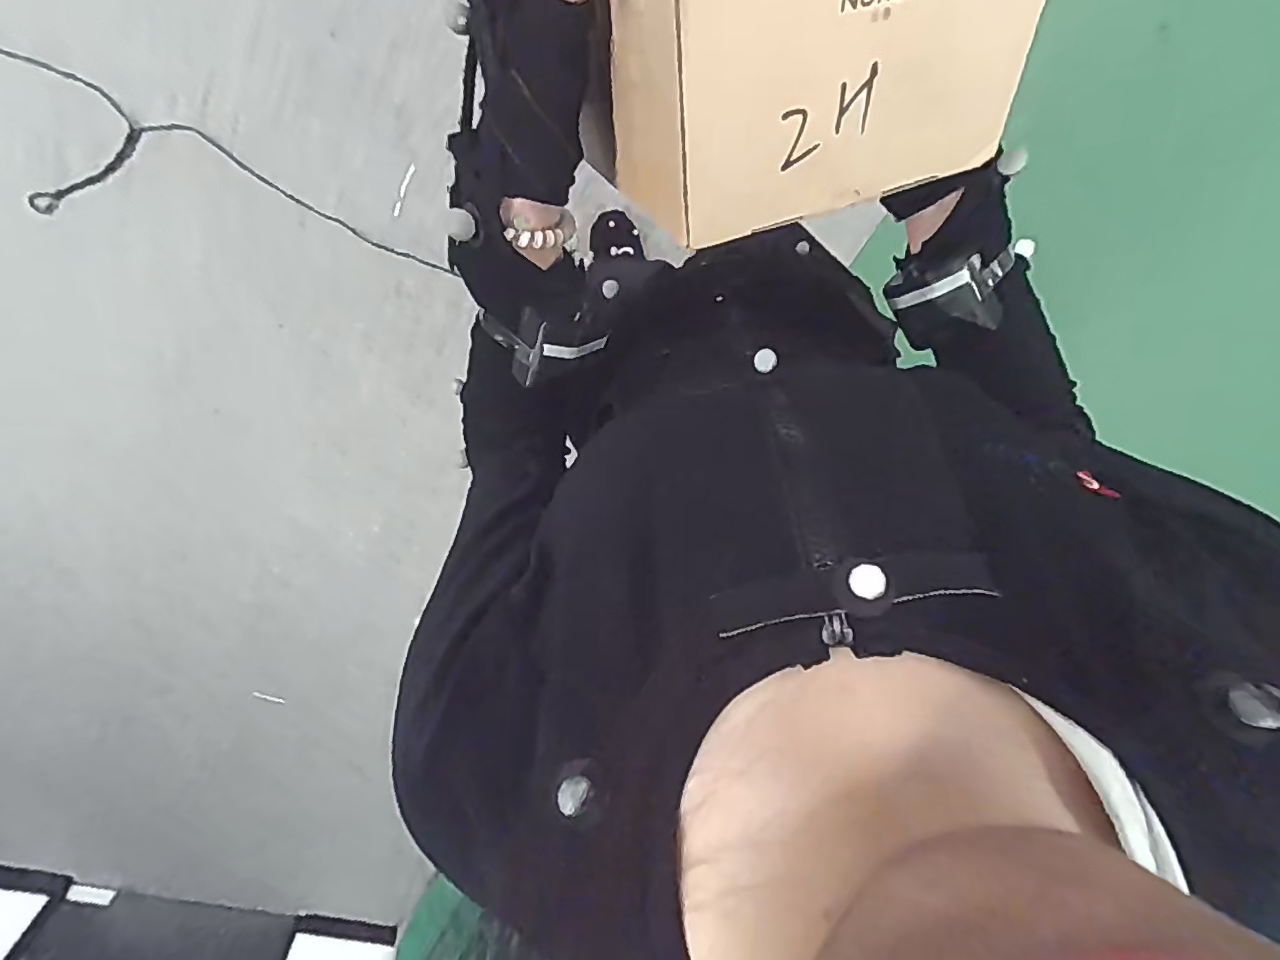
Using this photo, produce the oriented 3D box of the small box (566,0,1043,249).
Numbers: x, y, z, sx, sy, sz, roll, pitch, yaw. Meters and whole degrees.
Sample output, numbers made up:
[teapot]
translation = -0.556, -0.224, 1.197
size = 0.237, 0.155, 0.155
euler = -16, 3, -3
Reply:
[small box]
translation = 0.060, -0.240, 0.252
size = 0.168, 0.176, 0.179
euler = -19, 136, -9
